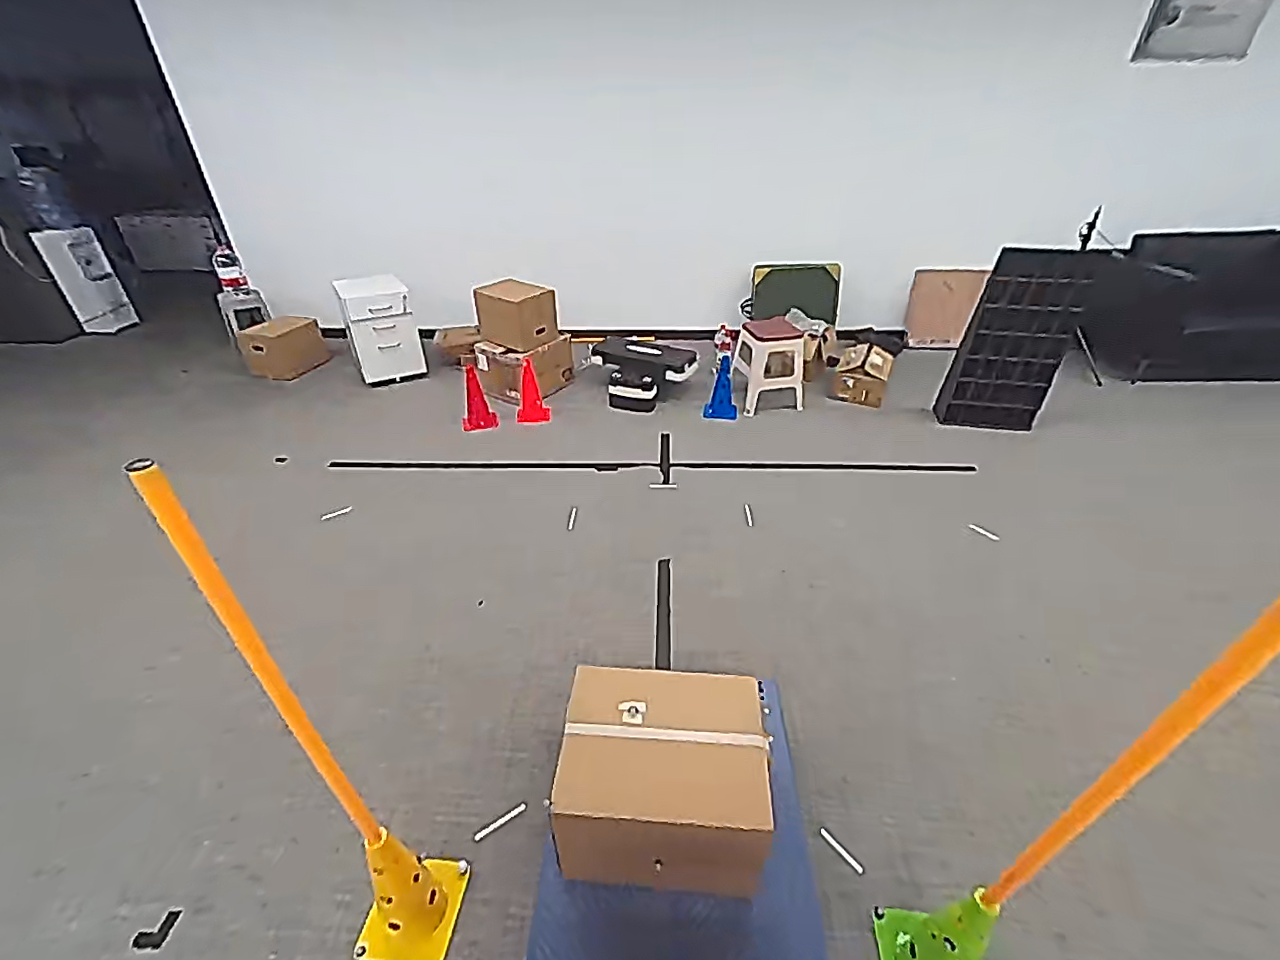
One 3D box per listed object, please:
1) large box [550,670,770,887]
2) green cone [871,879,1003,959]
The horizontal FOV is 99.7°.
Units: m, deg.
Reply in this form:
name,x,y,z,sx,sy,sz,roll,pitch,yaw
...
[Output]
name,x,y,z,sx,sy,sz,roll,pitch,yaw
large box,0.048,0.645,1.177,0.408,0.320,0.320,2,35,4
green cone,0.618,0.887,1.062,0.202,0.368,0.200,4,34,4
